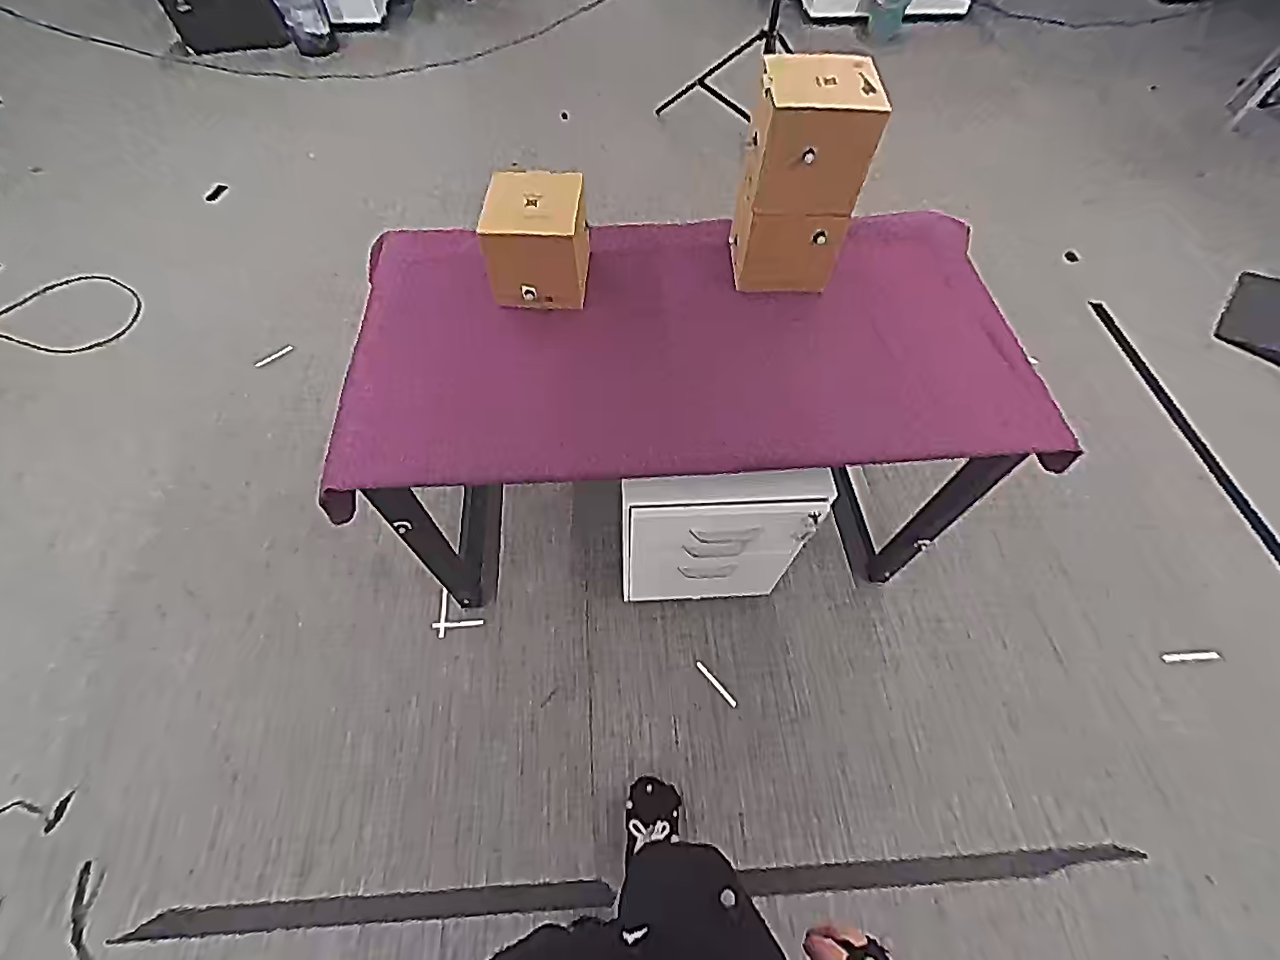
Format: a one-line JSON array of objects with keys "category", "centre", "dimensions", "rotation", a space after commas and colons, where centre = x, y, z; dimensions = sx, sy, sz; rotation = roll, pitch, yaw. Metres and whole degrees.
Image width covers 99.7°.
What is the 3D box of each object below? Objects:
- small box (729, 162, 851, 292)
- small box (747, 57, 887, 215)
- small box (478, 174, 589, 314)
[{"category": "small box", "centre": [0.276, -0.479, 1.035], "dimensions": [0.179, 0.176, 0.168], "rotation": [0, 60, 0]}, {"category": "small box", "centre": [0.276, -0.563, 0.894], "dimensions": [0.179, 0.176, 0.168], "rotation": [1, 60, 1]}, {"category": "small box", "centre": [-0.186, -0.436, 1.005], "dimensions": [0.168, 0.176, 0.179], "rotation": [1, 61, 1]}]
